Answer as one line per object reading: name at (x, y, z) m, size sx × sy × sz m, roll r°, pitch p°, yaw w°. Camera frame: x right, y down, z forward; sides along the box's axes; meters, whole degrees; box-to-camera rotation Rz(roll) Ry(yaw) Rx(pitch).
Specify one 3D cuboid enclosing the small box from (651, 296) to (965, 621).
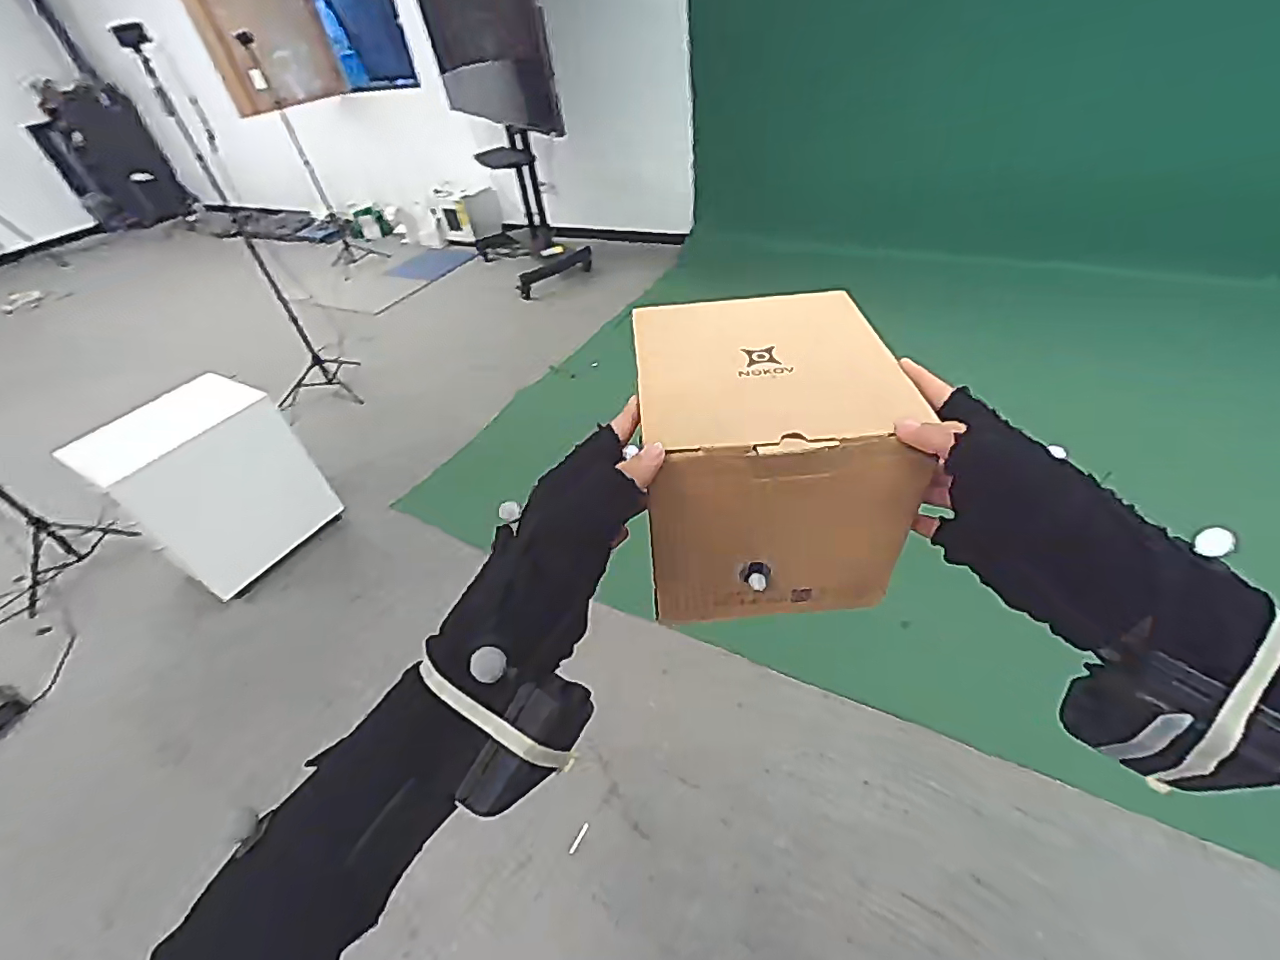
small box at (0.094, -0.017, 0.403) m, size 0.168 × 0.176 × 0.179 m, roll -4°, pitch 44°, yaw 1°
